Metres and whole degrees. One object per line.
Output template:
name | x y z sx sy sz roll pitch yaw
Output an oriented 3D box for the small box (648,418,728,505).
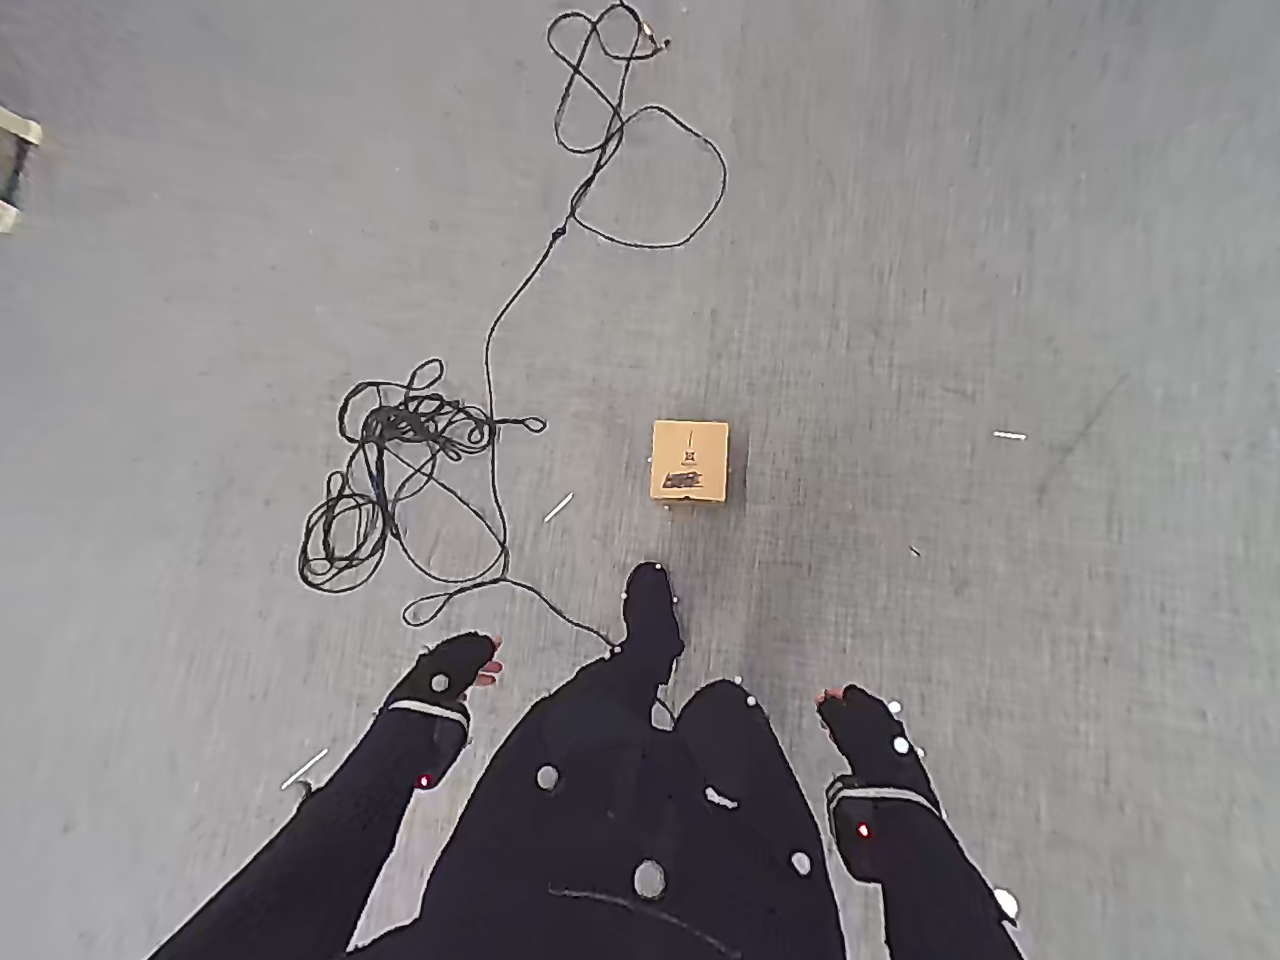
small box | 0.112 -0.036 1.249 0.168 0.176 0.179 3 83 5
